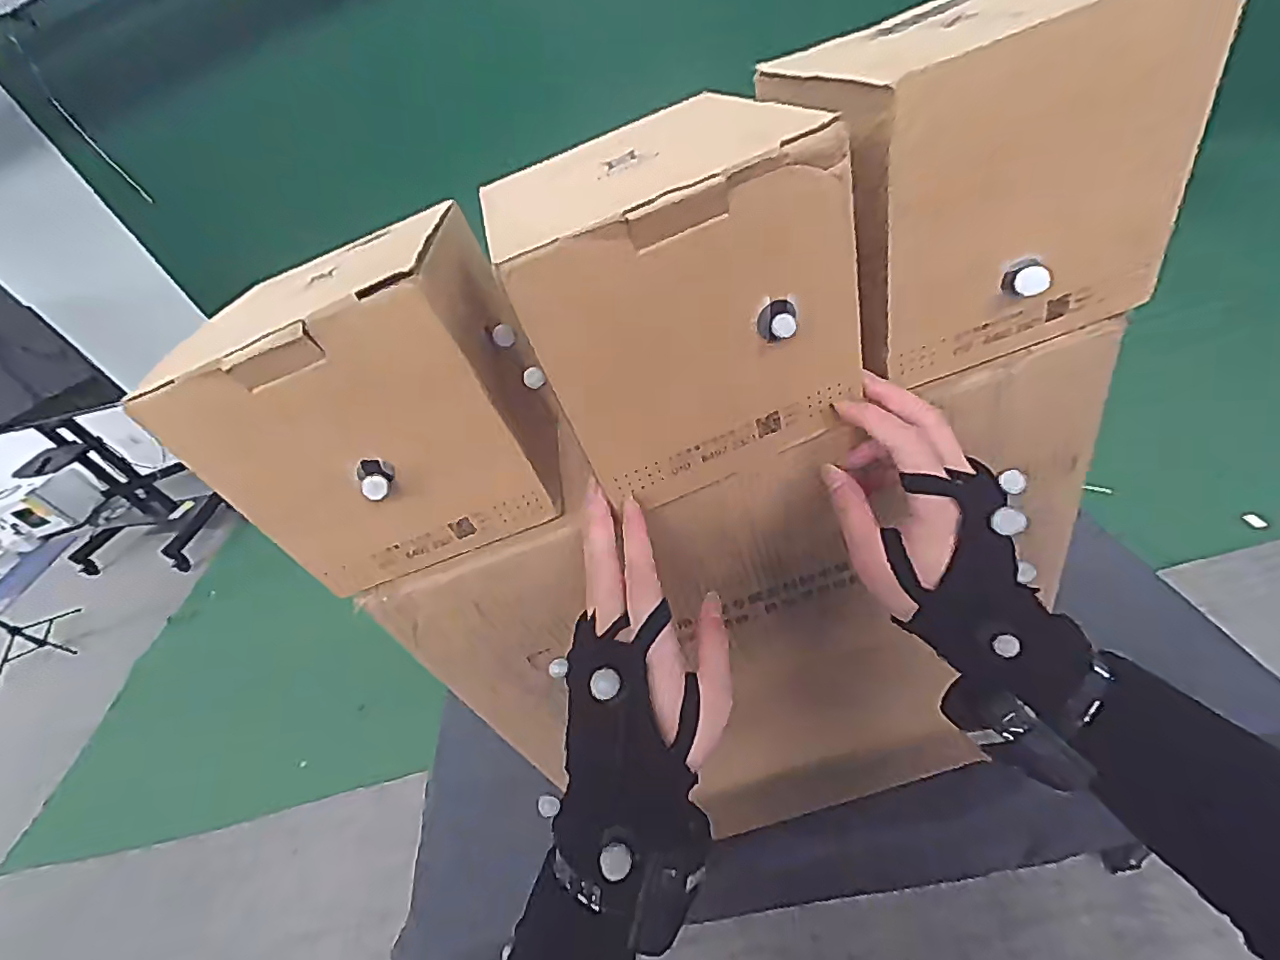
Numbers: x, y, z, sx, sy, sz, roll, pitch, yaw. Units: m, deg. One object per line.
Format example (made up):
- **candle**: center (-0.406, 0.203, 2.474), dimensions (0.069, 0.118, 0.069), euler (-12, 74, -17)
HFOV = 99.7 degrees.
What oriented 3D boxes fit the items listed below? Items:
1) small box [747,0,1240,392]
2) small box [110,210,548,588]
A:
- **small box**: center (0.181, -0.183, 0.336), dimensions (0.168, 0.176, 0.179), euler (-20, 40, 4)
- **small box**: center (-0.172, -0.049, 0.371), dimensions (0.168, 0.176, 0.179), euler (-21, 39, 6)
